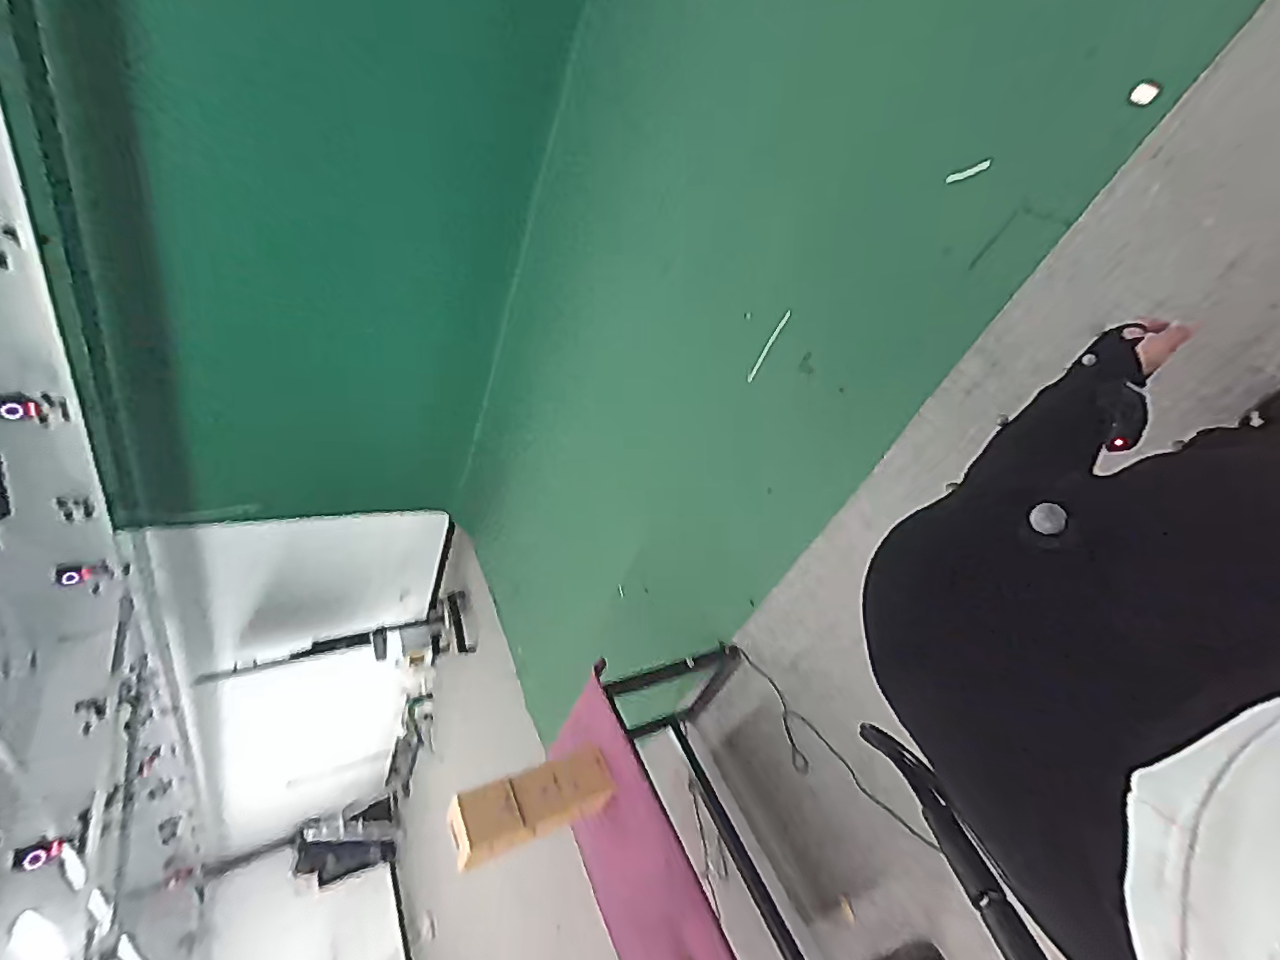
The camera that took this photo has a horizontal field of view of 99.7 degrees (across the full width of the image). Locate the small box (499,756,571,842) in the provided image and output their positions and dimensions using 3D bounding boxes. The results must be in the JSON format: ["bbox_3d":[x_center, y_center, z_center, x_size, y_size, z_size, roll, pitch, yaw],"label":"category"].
[{"bbox_3d":[-0.342,1.043,1.778,0.168,0.176,0.179,57,136,36],"label":"small box"}]

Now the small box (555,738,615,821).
[{"bbox_3d":[-0.207,1.033,1.872,0.168,0.176,0.179,54,134,36],"label":"small box"}]
